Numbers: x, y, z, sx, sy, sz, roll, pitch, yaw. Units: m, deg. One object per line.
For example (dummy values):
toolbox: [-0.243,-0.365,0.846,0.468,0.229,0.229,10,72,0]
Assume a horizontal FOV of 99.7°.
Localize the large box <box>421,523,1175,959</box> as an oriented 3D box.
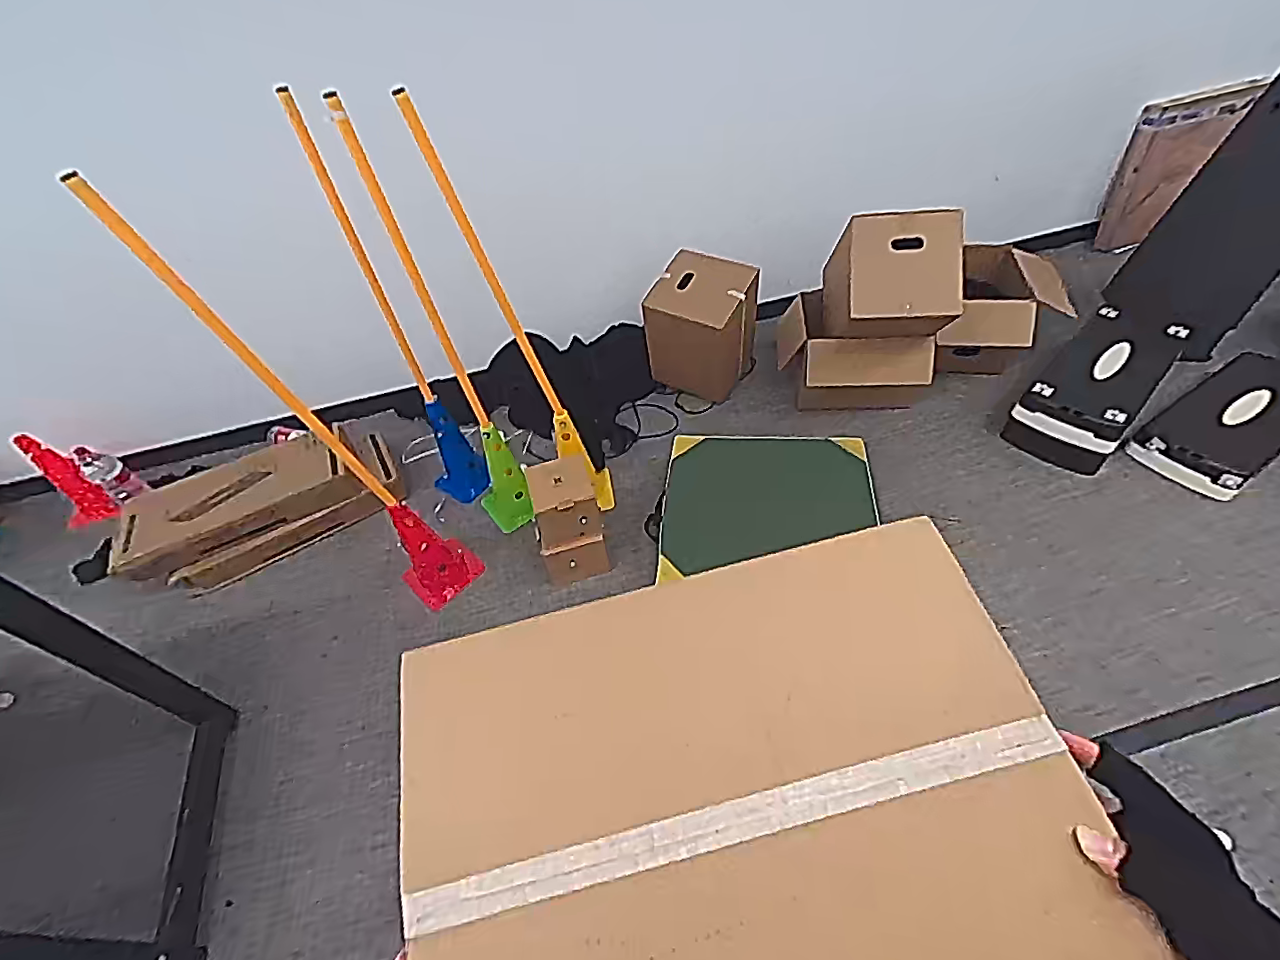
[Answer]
large box: [0.077,0.285,0.462,0.408,0.320,0.320,-15,60,-1]
